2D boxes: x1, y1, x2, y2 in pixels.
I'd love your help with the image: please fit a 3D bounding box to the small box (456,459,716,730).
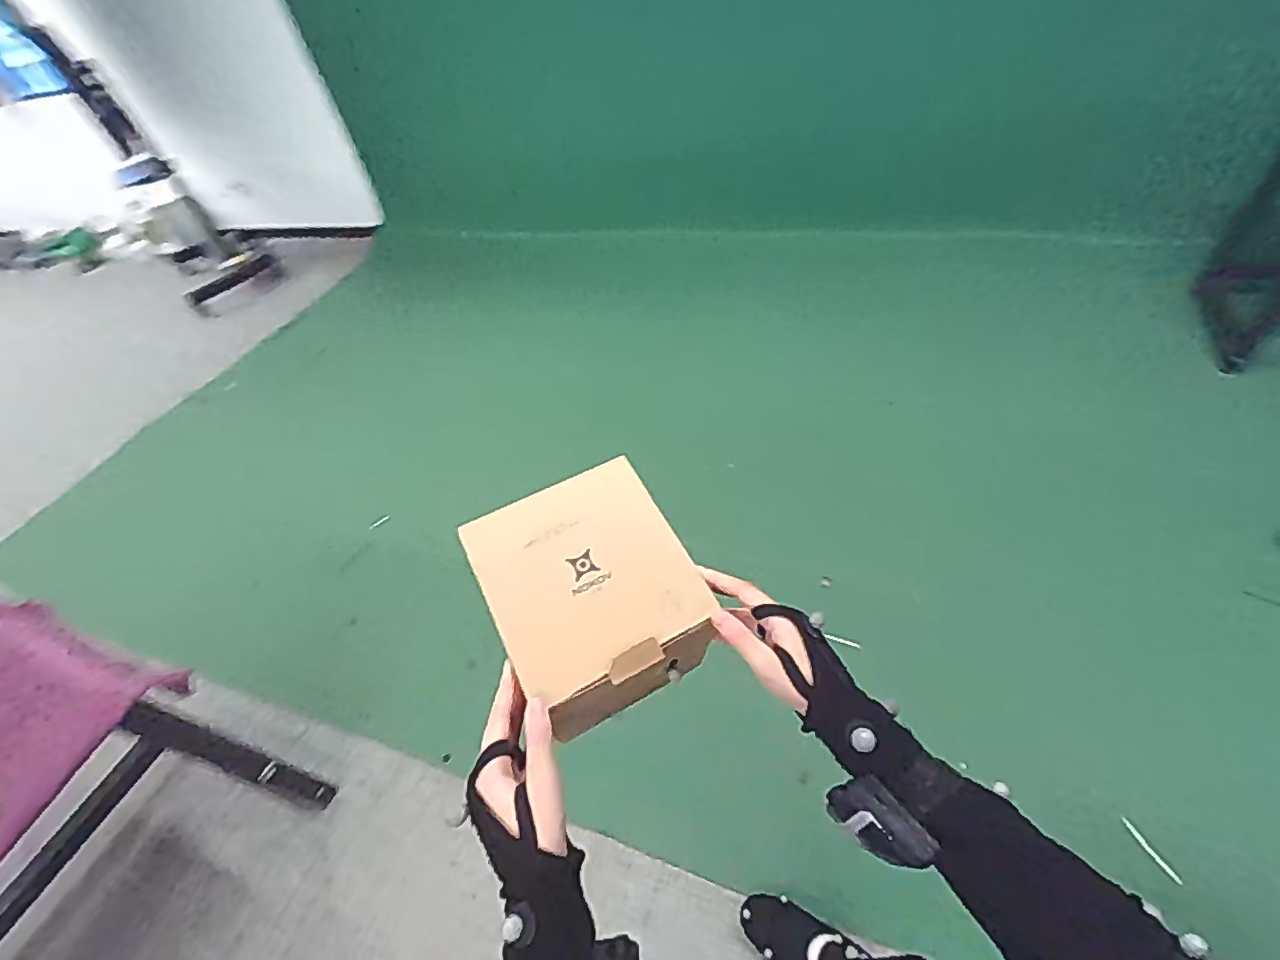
[{"bbox_3d":[-0.050,0.117,0.516,0.168,0.176,0.179,-24,61,-16],"label":"small box"}]
